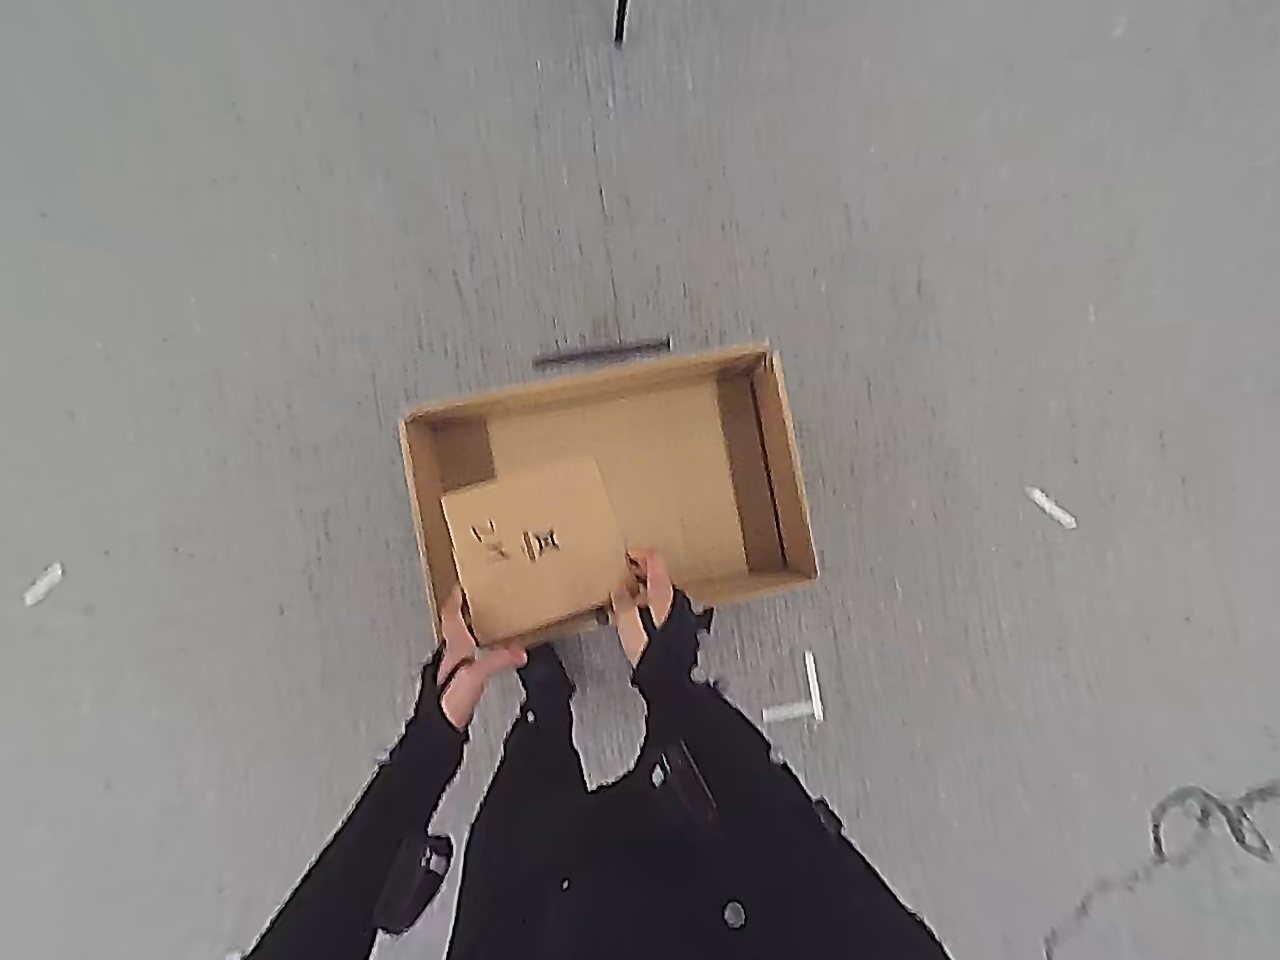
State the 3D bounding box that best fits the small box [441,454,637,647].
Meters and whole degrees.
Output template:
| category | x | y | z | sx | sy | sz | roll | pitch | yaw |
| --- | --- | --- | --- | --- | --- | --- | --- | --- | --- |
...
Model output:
| category | x | y | z | sx | sy | sz | roll | pitch | yaw |
| --- | --- | --- | --- | --- | --- | --- | --- | --- | --- |
| small box | -0.115 | 0.092 | 0.650 | 0.179 | 0.176 | 0.168 | -17 | 72 | -10 |
